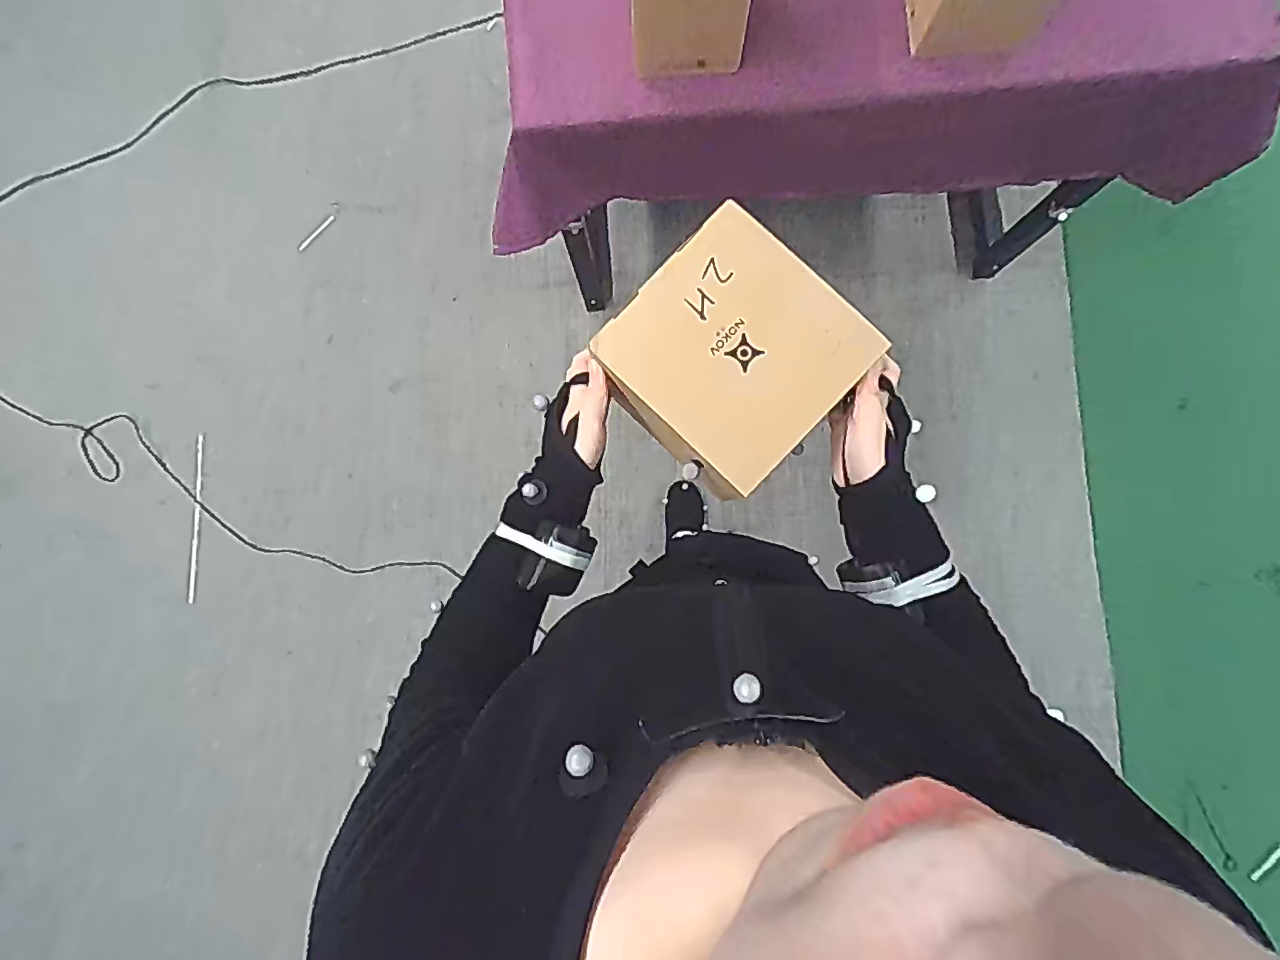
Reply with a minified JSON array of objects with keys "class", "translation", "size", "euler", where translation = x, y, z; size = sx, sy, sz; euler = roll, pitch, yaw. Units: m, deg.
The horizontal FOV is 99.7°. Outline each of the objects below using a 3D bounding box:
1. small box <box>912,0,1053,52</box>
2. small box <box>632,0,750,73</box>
[{"class":"small box","translation":[0.507,-0.756,0.773],"size":[0.179,0.176,0.168],"euler":[-2,84,1]},{"class":"small box","translation":[0.071,-0.742,0.787],"size":[0.168,0.176,0.179],"euler":[-1,83,2]}]
